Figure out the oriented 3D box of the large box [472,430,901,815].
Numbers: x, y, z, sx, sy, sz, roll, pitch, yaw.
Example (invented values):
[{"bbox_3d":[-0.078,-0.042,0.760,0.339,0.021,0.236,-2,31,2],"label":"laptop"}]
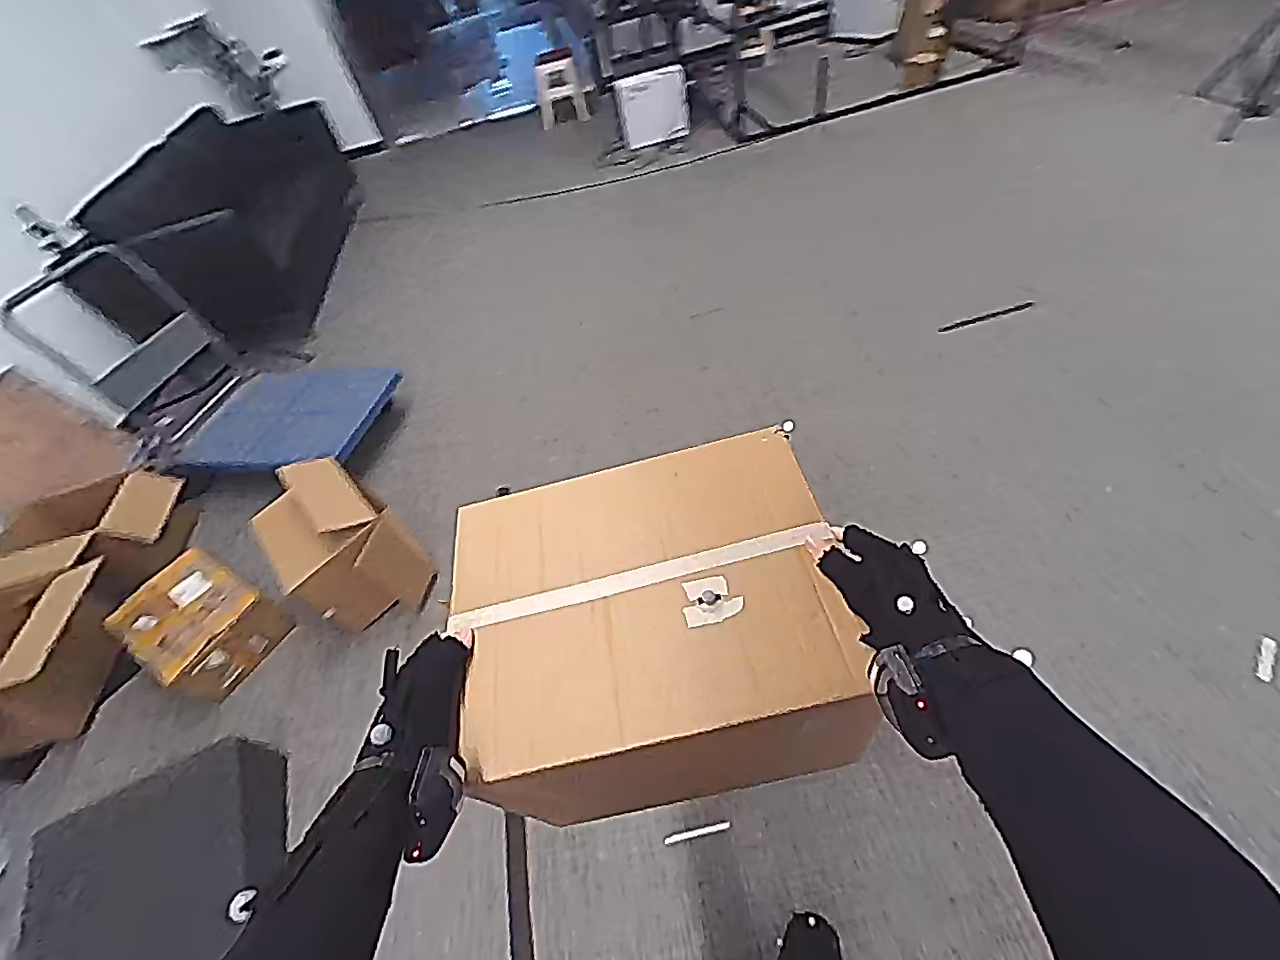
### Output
[{"bbox_3d":[0.041,0.191,0.687,0.408,0.320,0.320,-14,51,3],"label":"large box"}]
